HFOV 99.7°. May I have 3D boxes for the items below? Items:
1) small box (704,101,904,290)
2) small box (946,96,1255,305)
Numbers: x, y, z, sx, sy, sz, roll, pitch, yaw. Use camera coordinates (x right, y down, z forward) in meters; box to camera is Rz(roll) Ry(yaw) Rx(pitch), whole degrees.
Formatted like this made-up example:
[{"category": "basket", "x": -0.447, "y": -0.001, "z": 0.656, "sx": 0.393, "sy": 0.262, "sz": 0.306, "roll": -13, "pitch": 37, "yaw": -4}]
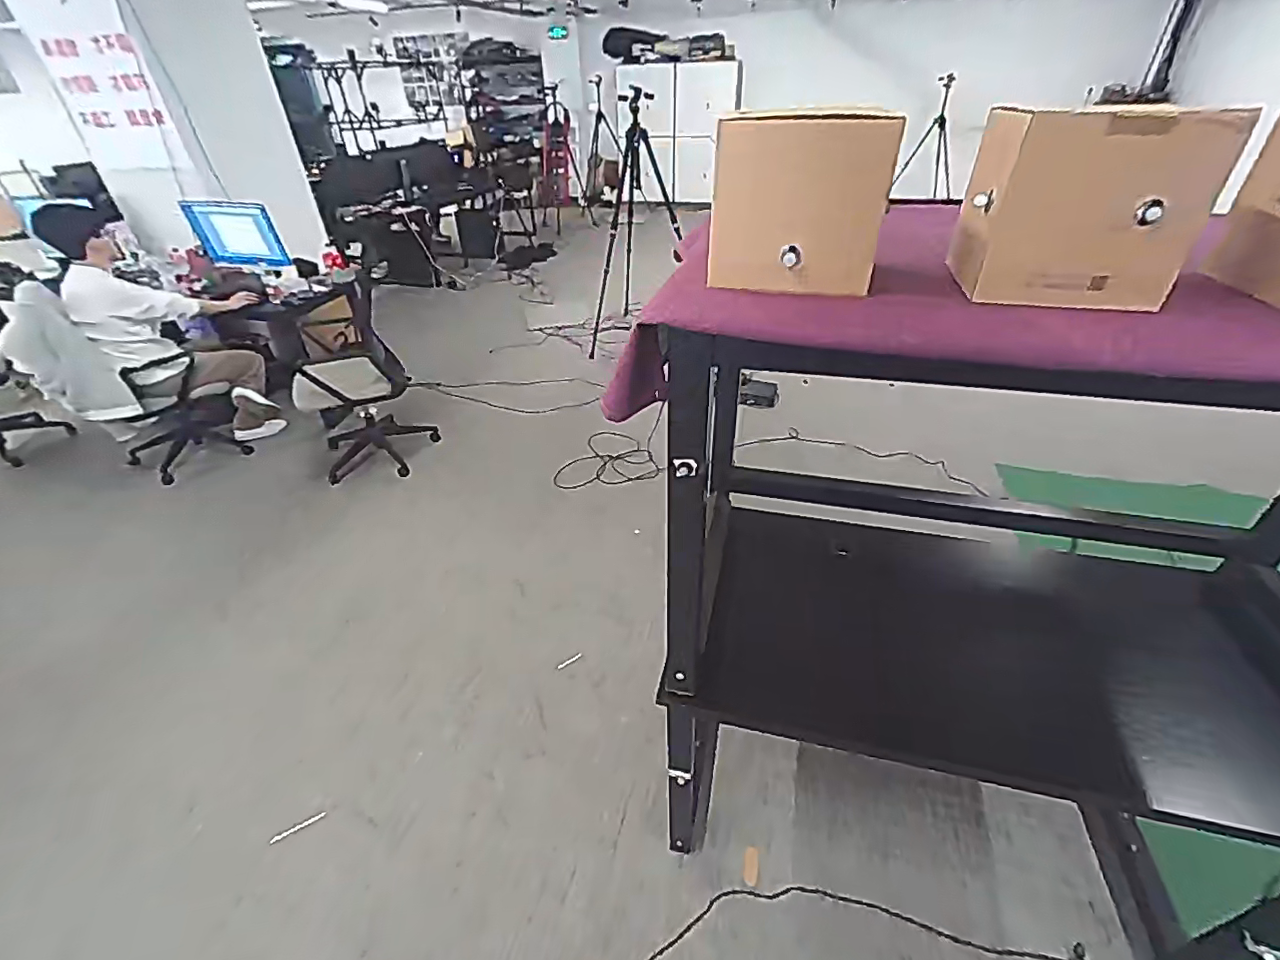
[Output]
[{"category": "small box", "x": 0.174, "y": -0.324, "z": 0.615, "sx": 0.179, "sy": 0.176, "sz": 0.168, "roll": 7, "pitch": 36, "yaw": 10}, {"category": "small box", "x": 0.440, "y": -0.290, "z": 0.560, "sx": 0.168, "sy": 0.176, "sz": 0.179, "roll": 9, "pitch": 36, "yaw": 14}]
